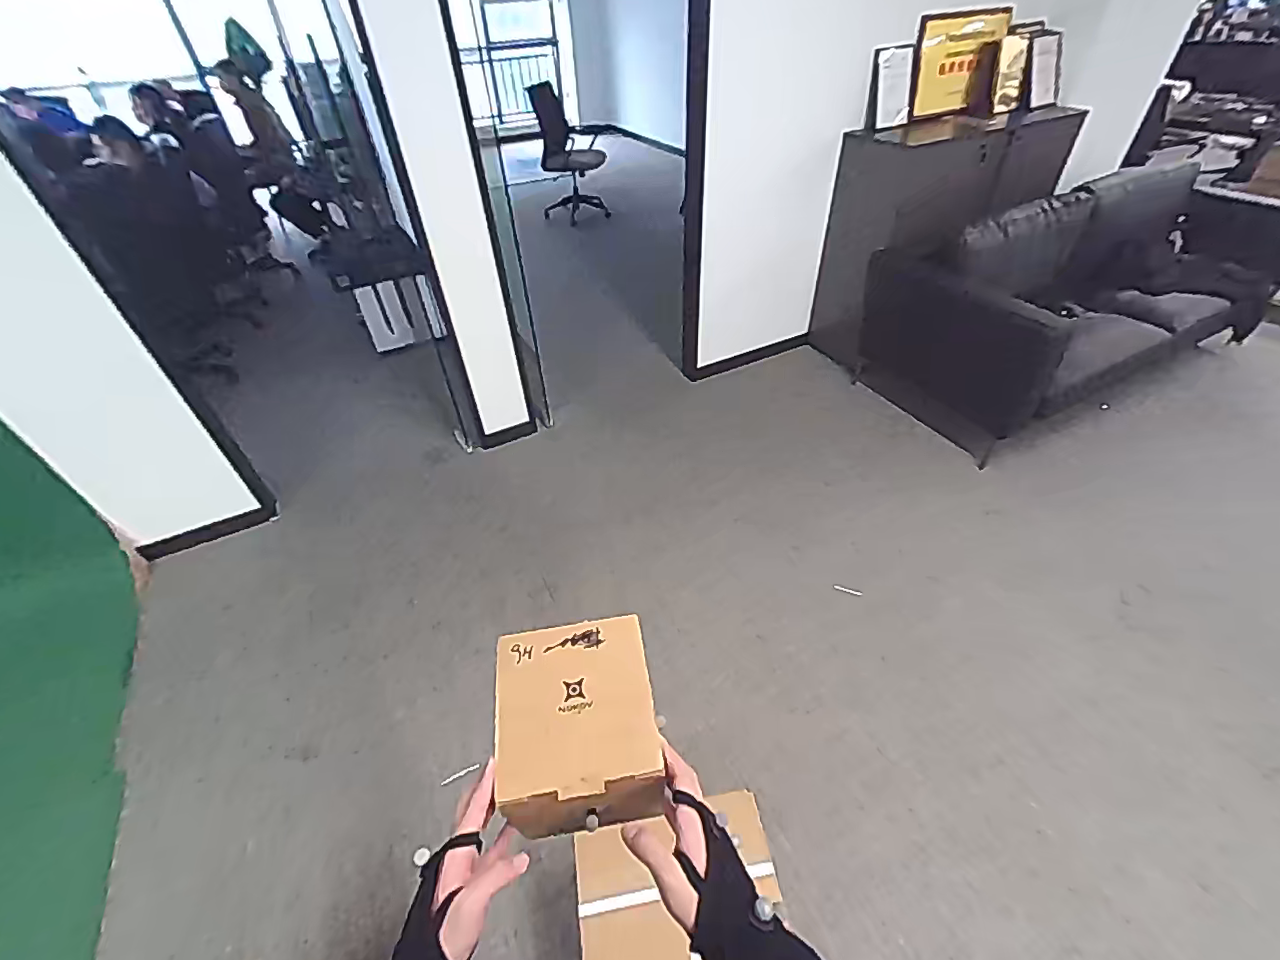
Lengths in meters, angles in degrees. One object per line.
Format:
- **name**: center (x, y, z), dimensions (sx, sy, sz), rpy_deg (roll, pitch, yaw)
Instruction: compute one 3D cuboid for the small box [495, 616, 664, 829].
- **small box**: center (-0.066, 0.285, 0.627), dimensions (0.168, 0.176, 0.179), rpy_deg (-8, 48, -5)
